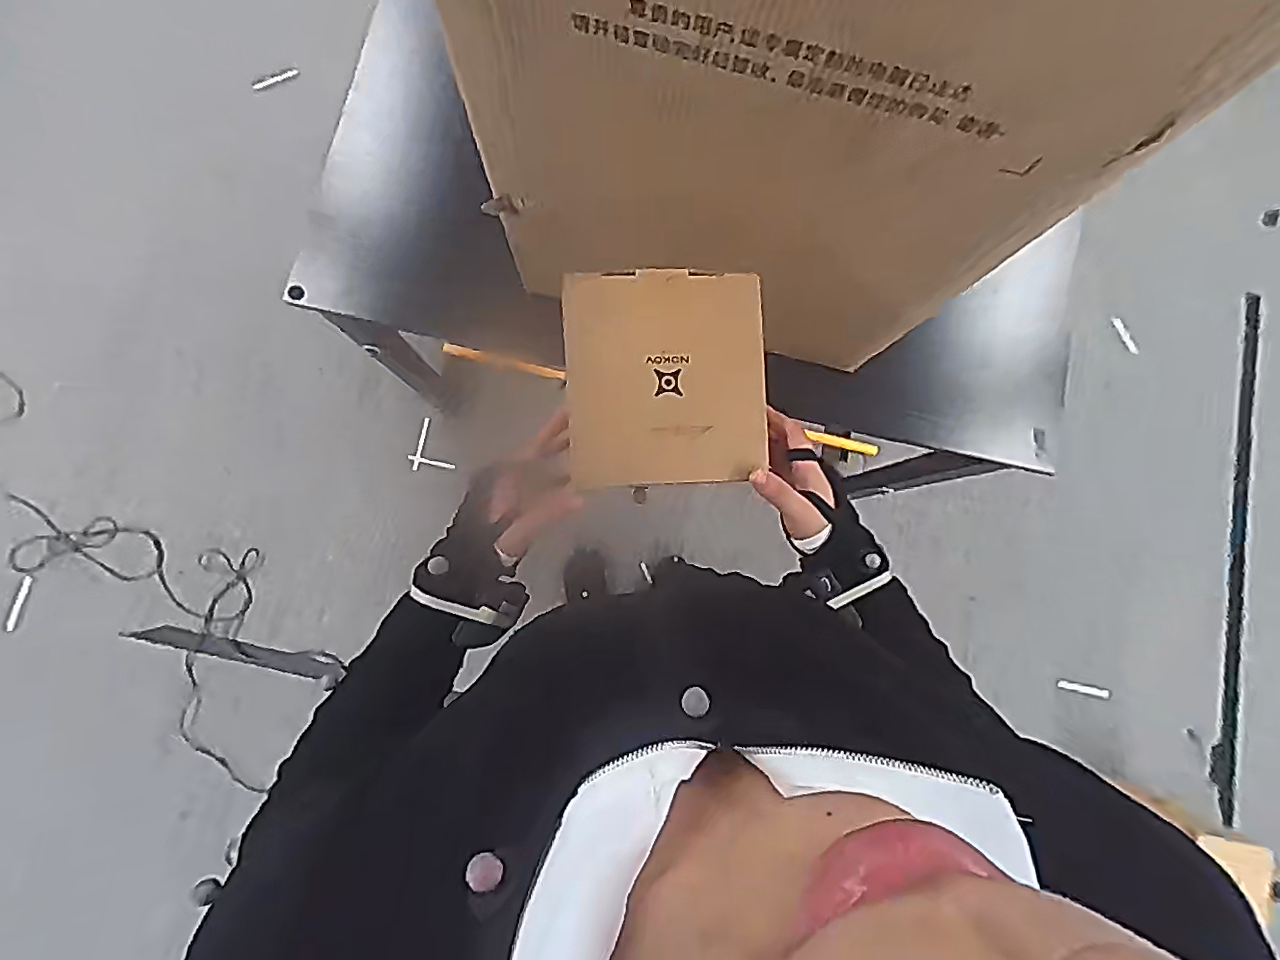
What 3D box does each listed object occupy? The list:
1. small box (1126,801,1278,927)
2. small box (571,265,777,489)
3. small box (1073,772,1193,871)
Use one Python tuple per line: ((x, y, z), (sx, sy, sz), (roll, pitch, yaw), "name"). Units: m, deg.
((1.290, 0.876, 1.250), (0.179, 0.176, 0.168), (13, 82, -1), "small box")
((0.019, -0.082, 0.510), (0.168, 0.176, 0.179), (-2, 89, -6), "small box")
((1.281, 0.891, 1.414), (0.168, 0.176, 0.179), (9, 83, -2), "small box")
